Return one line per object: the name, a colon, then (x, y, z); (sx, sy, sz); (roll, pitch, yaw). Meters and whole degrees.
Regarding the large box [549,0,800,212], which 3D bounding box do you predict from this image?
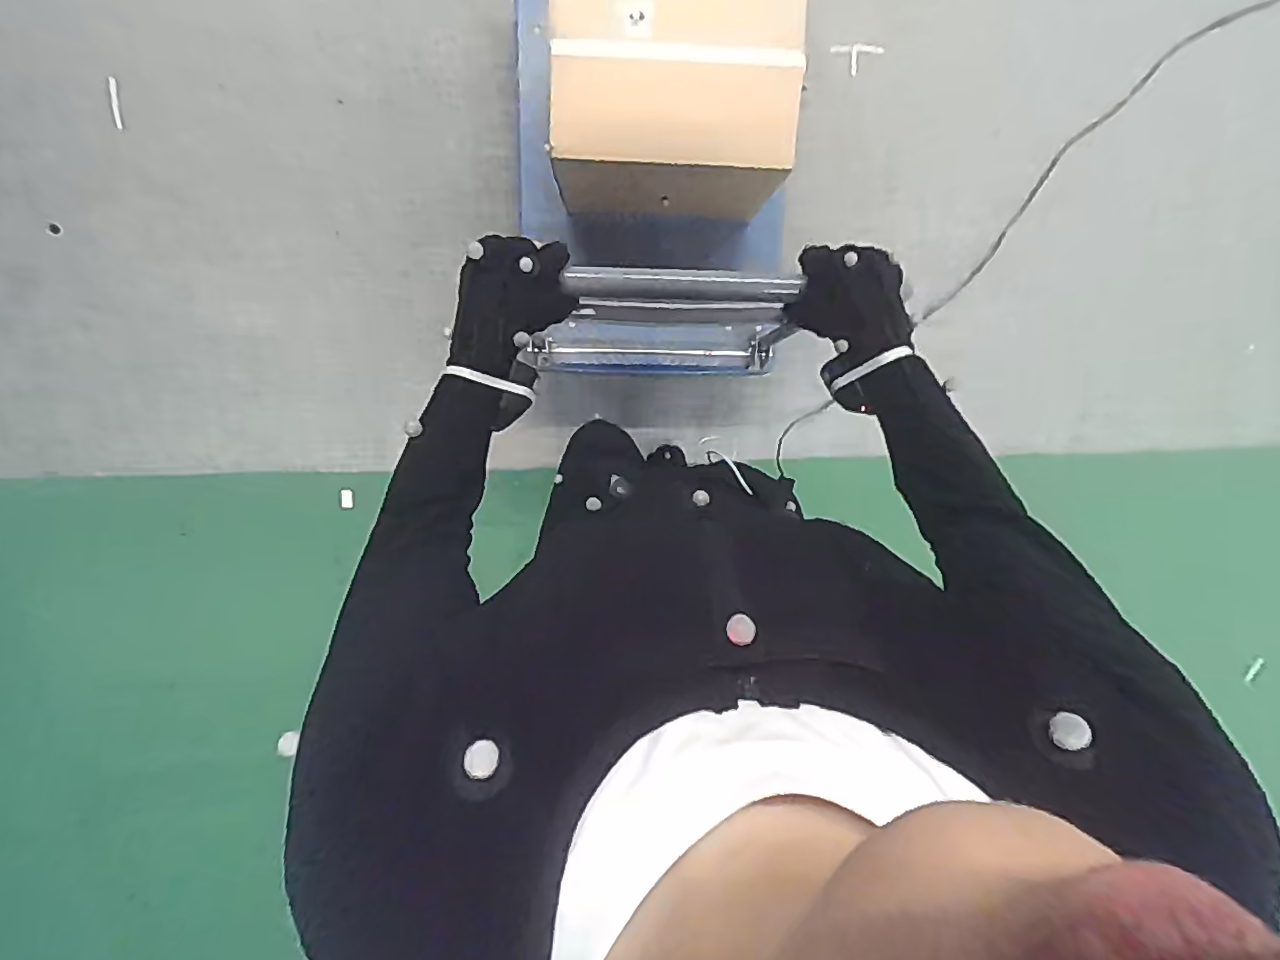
large box: (0.052, -0.708, 1.007); (0.408, 0.320, 0.320); (1, 100, -2)
